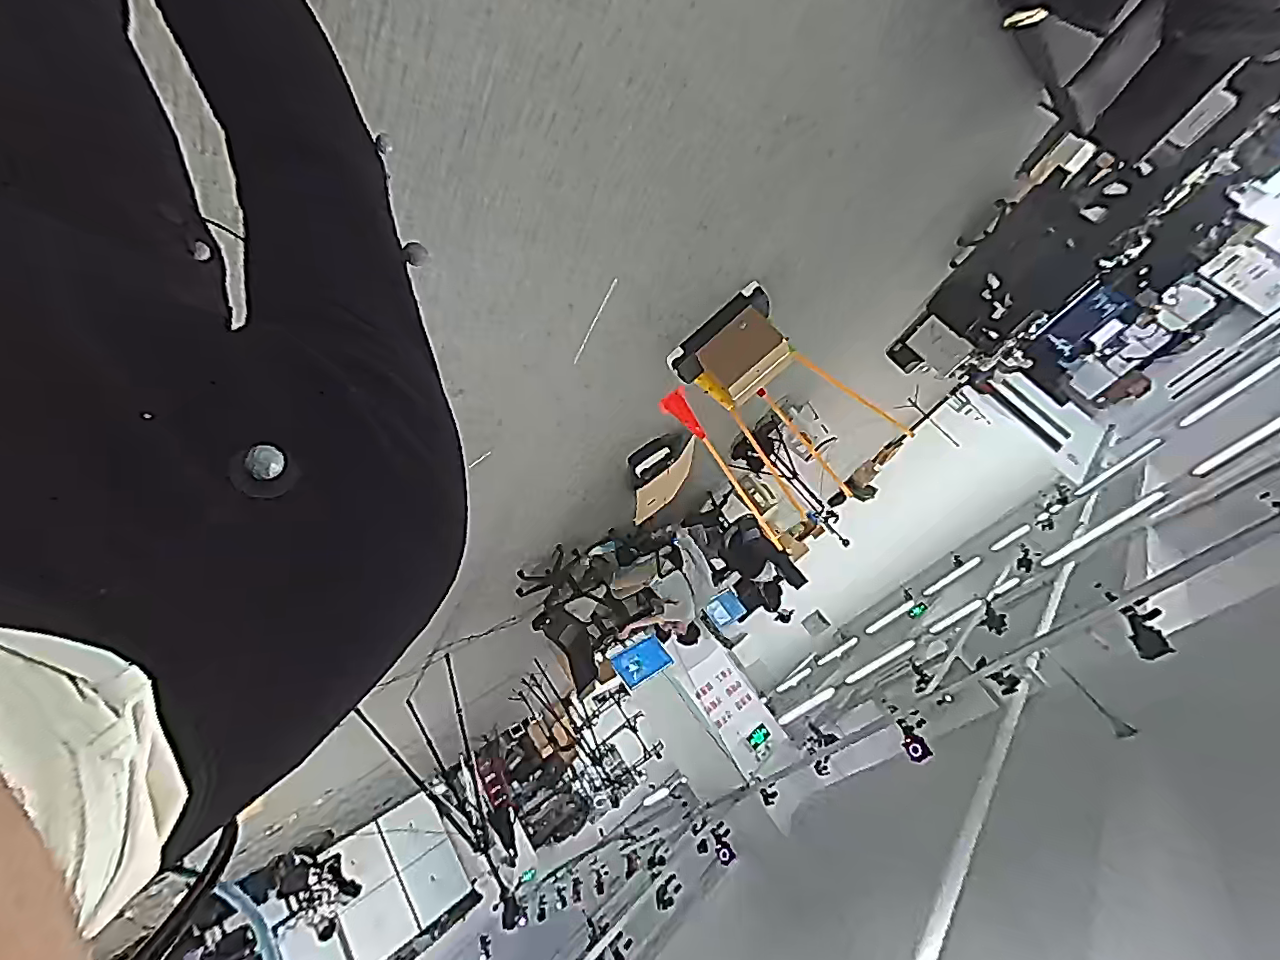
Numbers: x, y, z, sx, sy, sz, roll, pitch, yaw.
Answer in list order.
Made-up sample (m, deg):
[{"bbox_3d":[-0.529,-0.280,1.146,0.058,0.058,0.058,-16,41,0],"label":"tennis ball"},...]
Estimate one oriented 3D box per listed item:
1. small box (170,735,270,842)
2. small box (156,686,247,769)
[{"bbox_3d":[-1.132,0.826,1.463,0.179,0.176,0.168,-17,151,-44],"label":"small box"},{"bbox_3d":[-1.229,0.707,1.519,0.168,0.176,0.179,-18,153,-44],"label":"small box"}]
